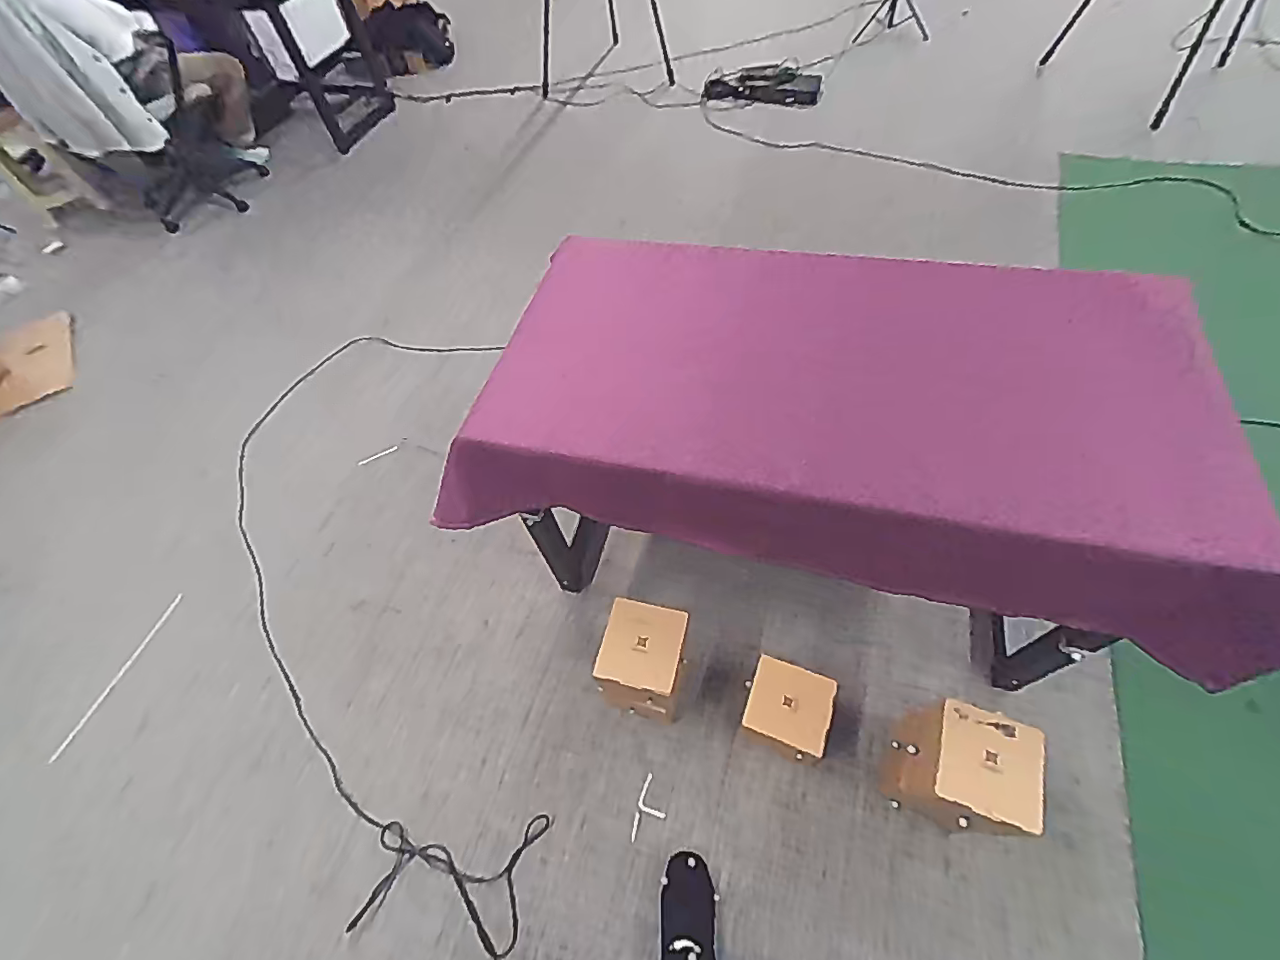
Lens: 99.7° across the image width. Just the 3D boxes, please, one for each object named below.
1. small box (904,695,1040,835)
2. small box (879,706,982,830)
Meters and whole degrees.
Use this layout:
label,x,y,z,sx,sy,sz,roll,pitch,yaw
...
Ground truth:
label,x,y,z,sx,sy,sz,roll,pitch,yaw
small box,0.616,0.537,1.019,0.168,0.176,0.179,17,62,17
small box,0.631,0.621,1.160,0.168,0.176,0.179,21,61,18
